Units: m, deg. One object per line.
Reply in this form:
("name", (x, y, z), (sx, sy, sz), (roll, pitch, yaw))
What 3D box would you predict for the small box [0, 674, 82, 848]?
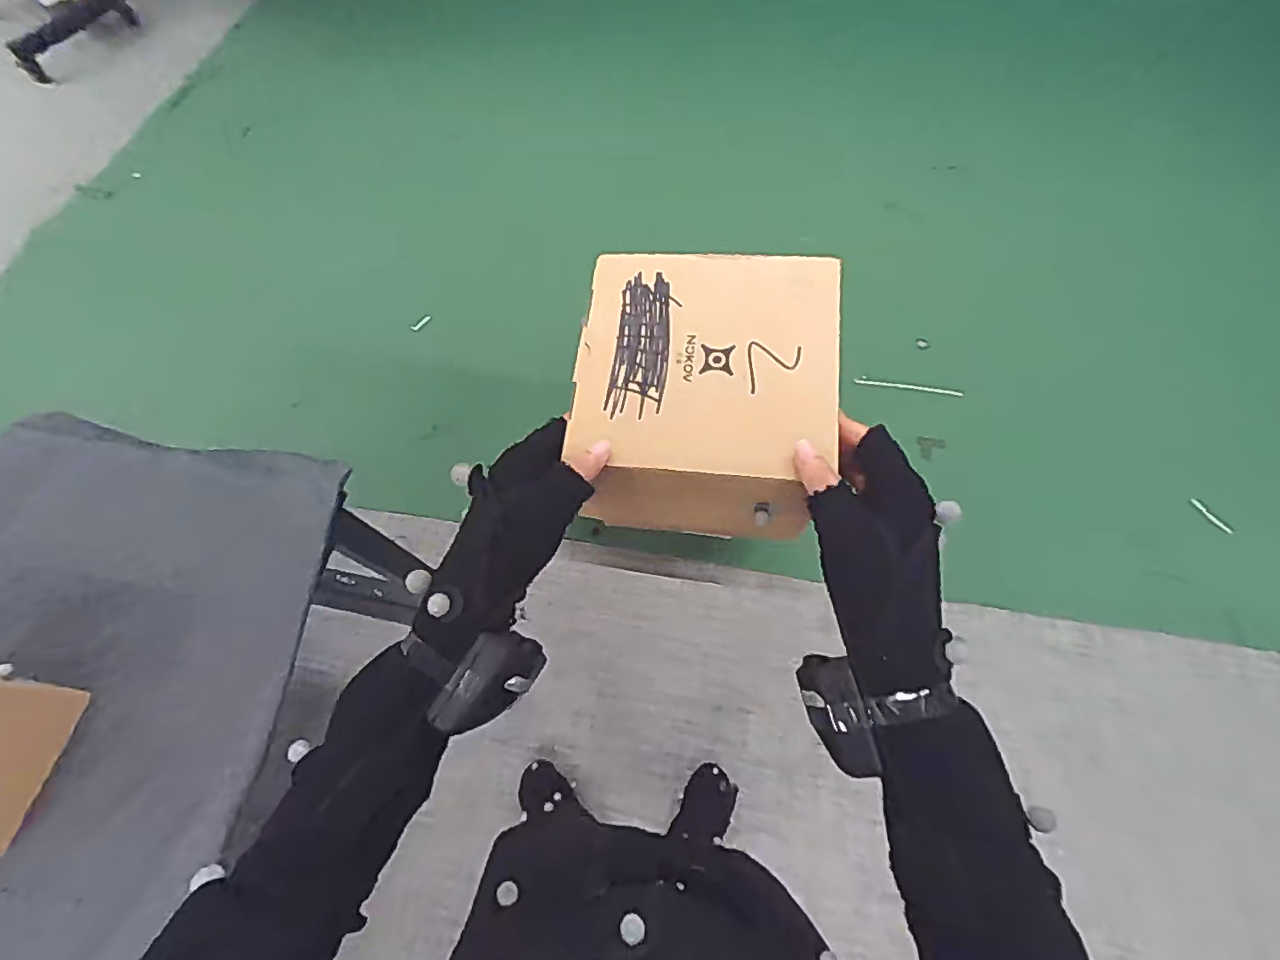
("small box", (-0.783, 0.303, 0.581), (0.168, 0.176, 0.179), (7, 64, 7))
